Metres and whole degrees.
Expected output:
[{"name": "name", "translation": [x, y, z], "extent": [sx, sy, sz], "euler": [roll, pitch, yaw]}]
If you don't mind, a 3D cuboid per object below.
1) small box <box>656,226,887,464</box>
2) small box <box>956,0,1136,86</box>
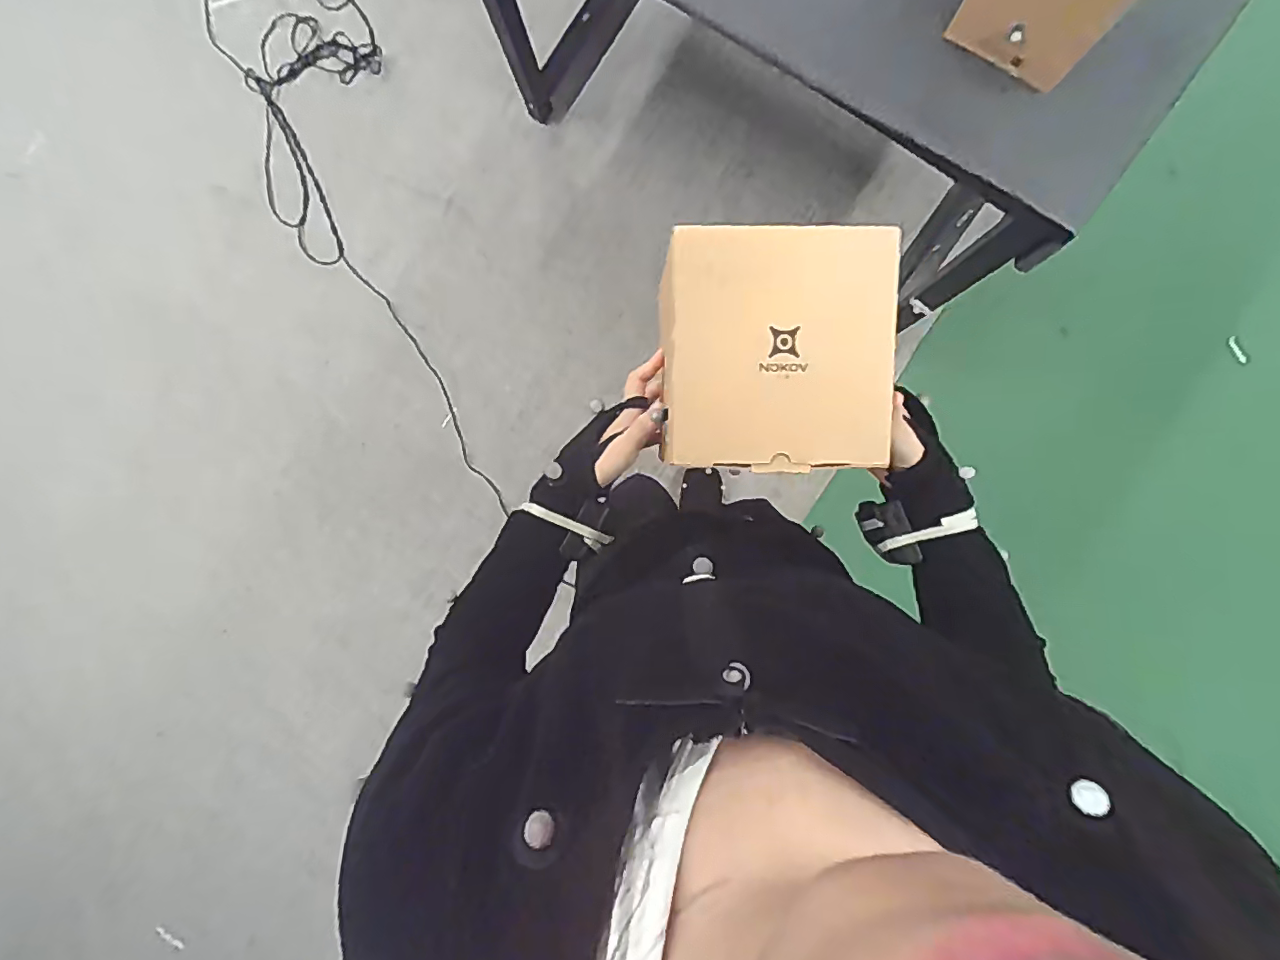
[{"name": "small box", "translation": [0.100, -0.105, 0.482], "extent": [0.168, 0.176, 0.179], "euler": [-1, 95, 0]}, {"name": "small box", "translation": [0.530, -0.645, 0.657], "extent": [0.168, 0.176, 0.179], "euler": [33, 92, 5]}]
